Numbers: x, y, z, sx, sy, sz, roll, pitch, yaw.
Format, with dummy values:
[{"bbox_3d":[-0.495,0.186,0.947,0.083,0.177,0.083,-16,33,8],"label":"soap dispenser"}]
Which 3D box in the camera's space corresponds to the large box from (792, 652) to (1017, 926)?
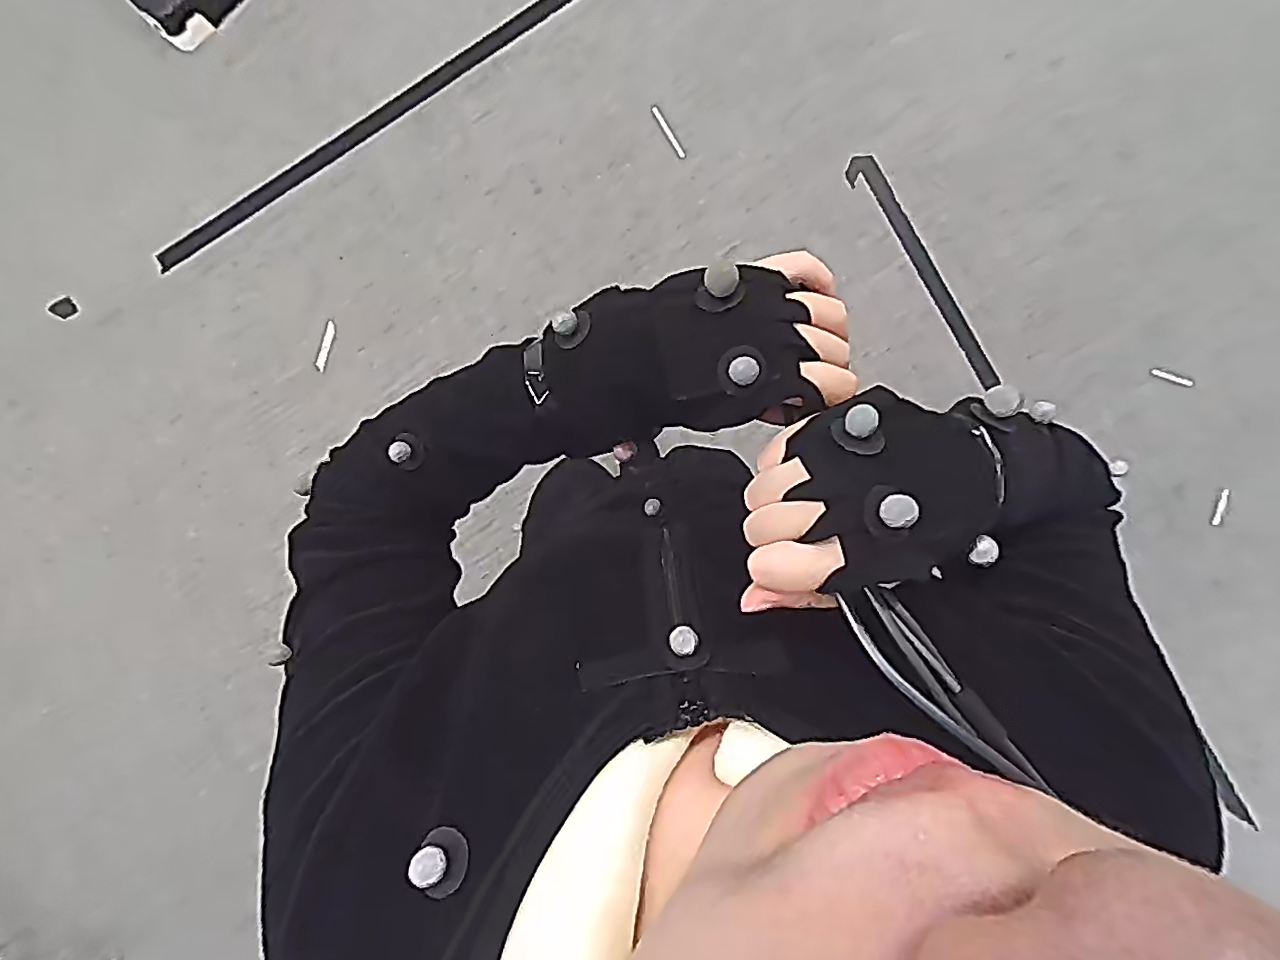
[{"bbox_3d":[0.564,0.657,1.212,0.320,0.320,0.408,-10,94,0],"label":"large box"}]
